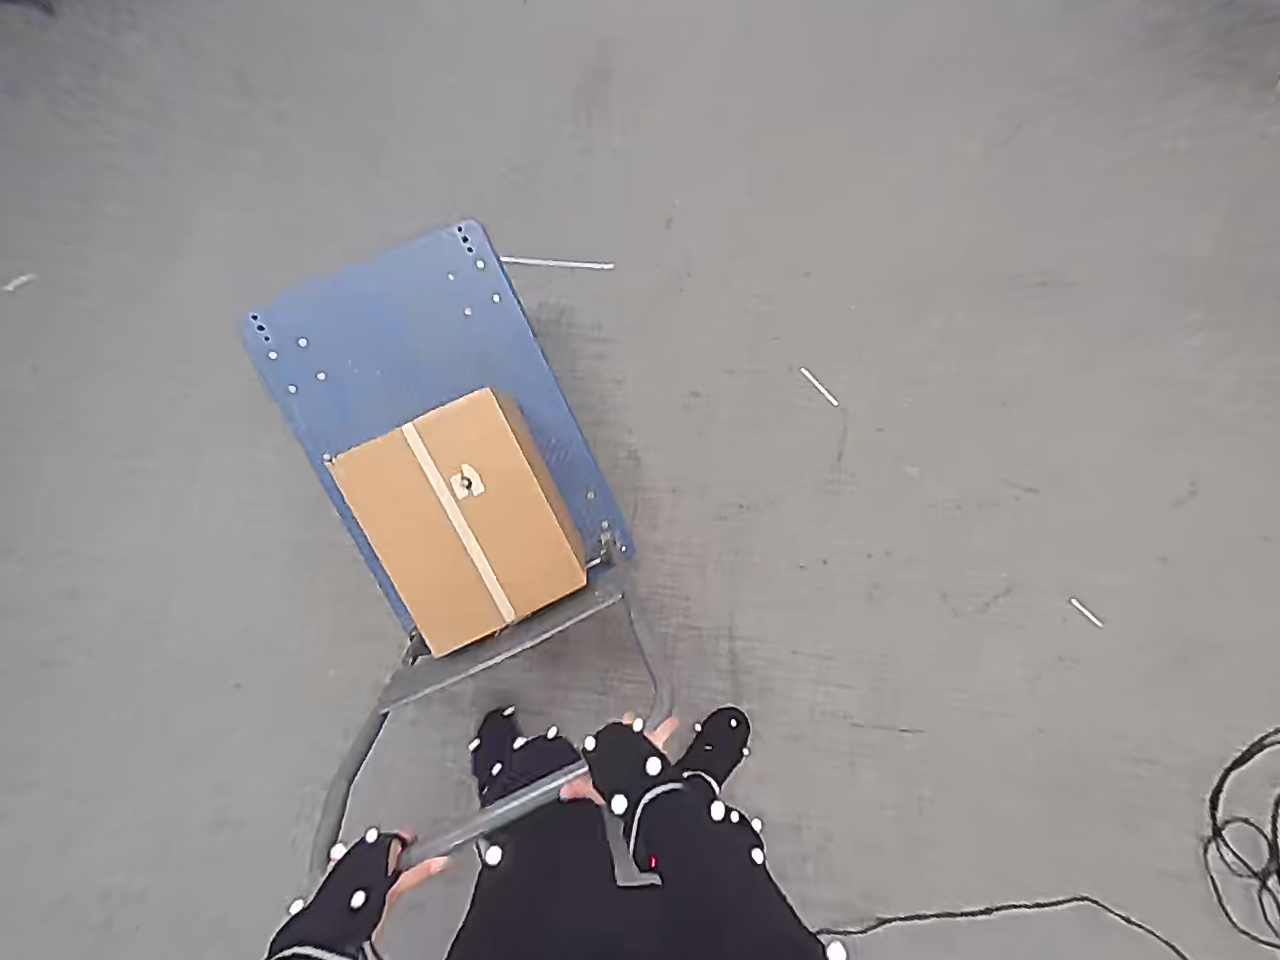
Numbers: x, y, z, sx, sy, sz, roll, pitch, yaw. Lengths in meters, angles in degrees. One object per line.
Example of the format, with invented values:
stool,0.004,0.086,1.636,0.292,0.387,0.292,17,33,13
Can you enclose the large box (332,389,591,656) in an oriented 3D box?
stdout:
large box,-0.324,0.069,1.110,0.320,0.320,0.408,-27,97,-4
